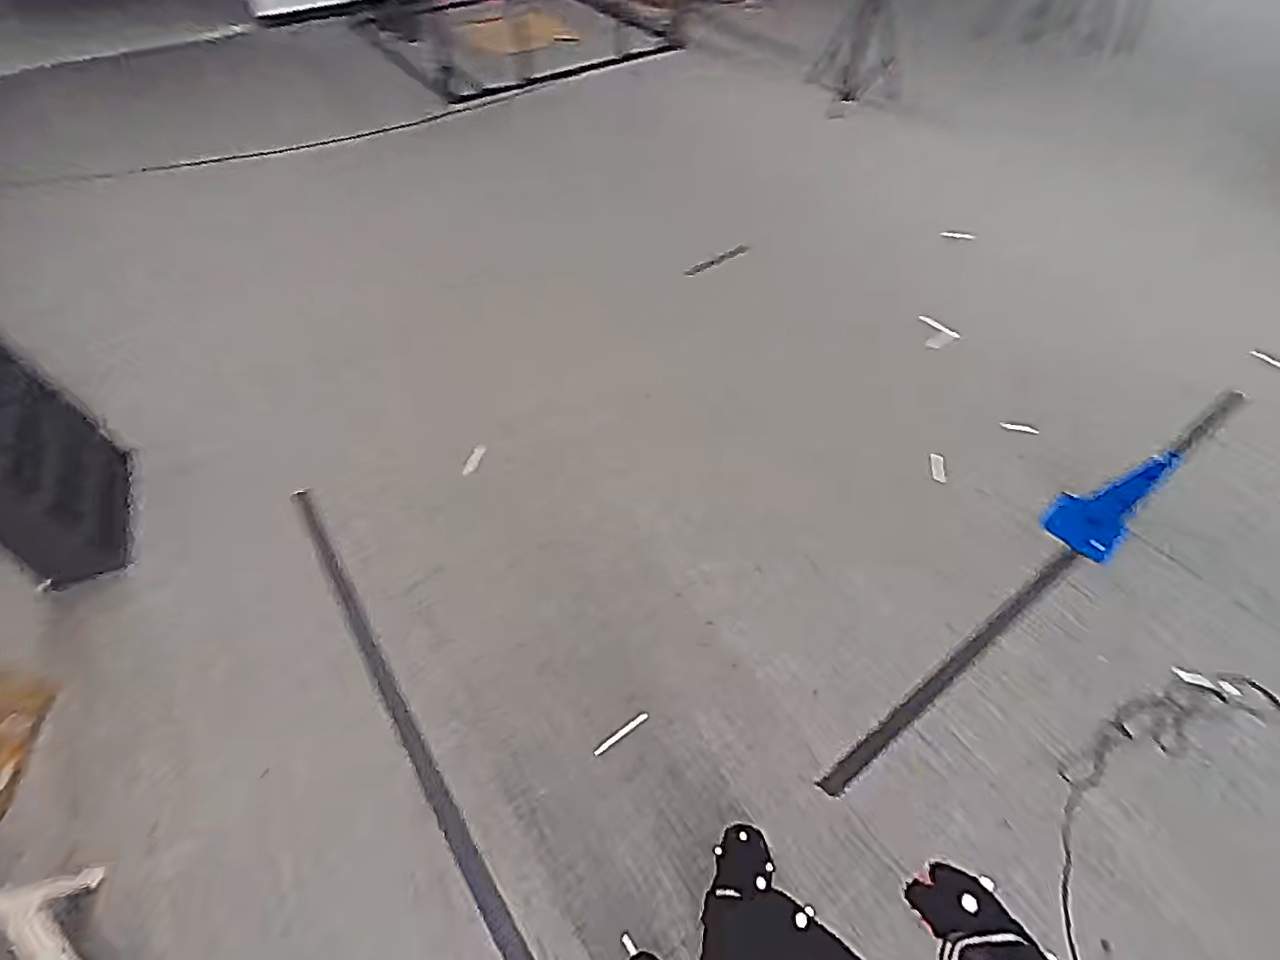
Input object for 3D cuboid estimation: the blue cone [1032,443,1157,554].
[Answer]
[{"bbox_3d":[1.373,0.035,1.590,0.193,0.380,0.192,-34,59,-23],"label":"blue cone"}]
